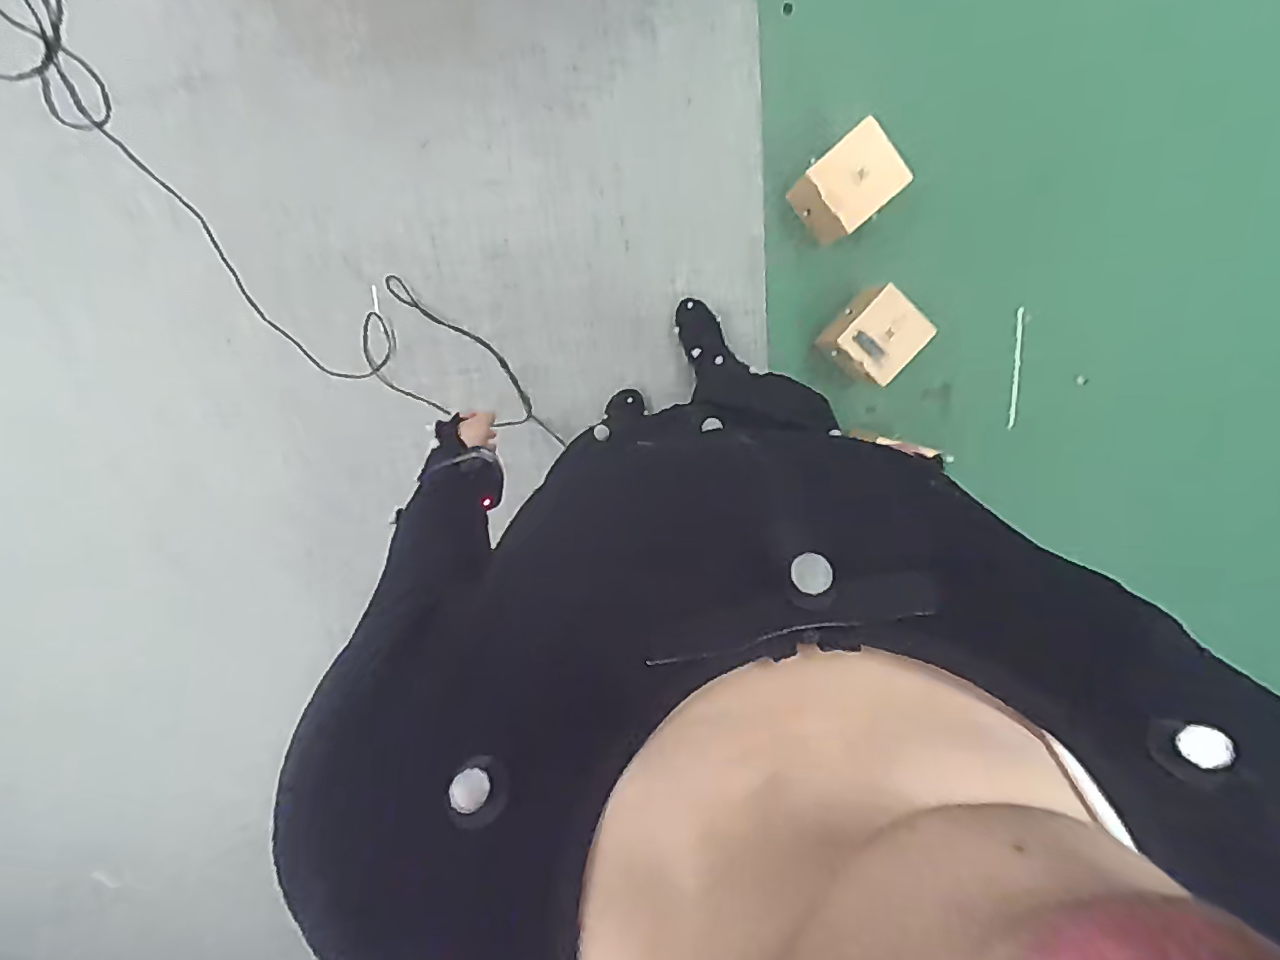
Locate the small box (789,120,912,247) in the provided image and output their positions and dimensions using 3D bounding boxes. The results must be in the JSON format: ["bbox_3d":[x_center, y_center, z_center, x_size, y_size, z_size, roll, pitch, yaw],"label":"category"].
[{"bbox_3d":[0.474,-0.671,1.247,0.179,0.176,0.168,-40,101,9],"label":"small box"}]

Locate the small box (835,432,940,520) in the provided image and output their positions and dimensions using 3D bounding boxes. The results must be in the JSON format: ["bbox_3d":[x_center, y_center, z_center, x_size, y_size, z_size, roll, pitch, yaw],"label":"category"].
[{"bbox_3d":[0.631,-0.018,1.405,0.168,0.176,0.179,13,104,-3],"label":"small box"}]
